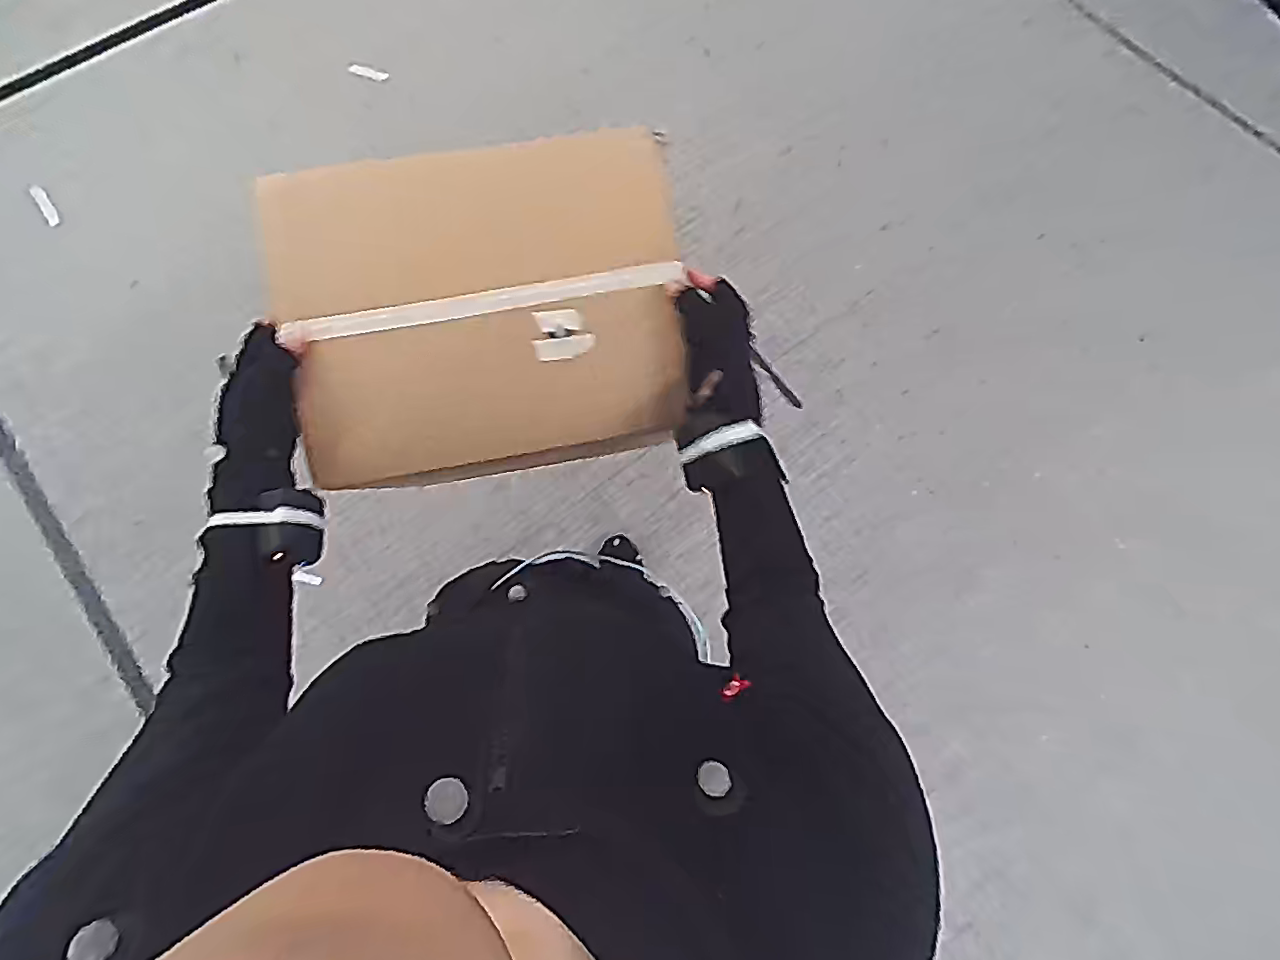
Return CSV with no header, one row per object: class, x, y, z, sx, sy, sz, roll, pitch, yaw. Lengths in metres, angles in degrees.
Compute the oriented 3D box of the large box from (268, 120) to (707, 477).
large box,-0.165,-0.193,0.706,0.408,0.320,0.320,-11,92,-6
